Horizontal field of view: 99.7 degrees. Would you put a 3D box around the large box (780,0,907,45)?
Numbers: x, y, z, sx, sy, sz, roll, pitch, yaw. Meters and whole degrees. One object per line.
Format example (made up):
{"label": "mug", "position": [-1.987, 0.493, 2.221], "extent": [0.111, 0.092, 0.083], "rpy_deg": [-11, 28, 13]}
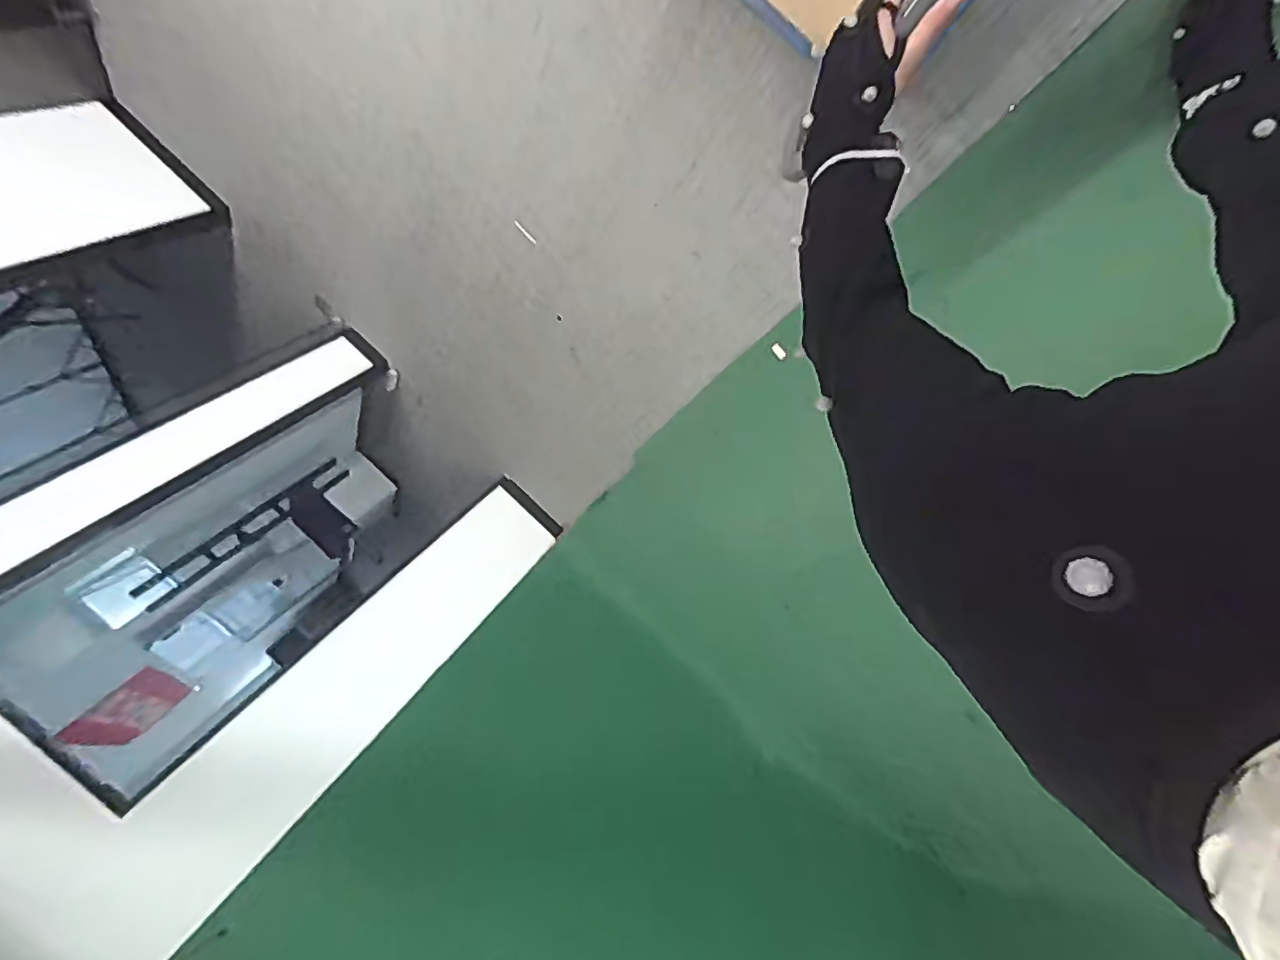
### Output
{"label": "large box", "position": [0.305, -0.965, 0.816], "extent": [0.408, 0.320, 0.320], "rpy_deg": [43, 142, -1]}
